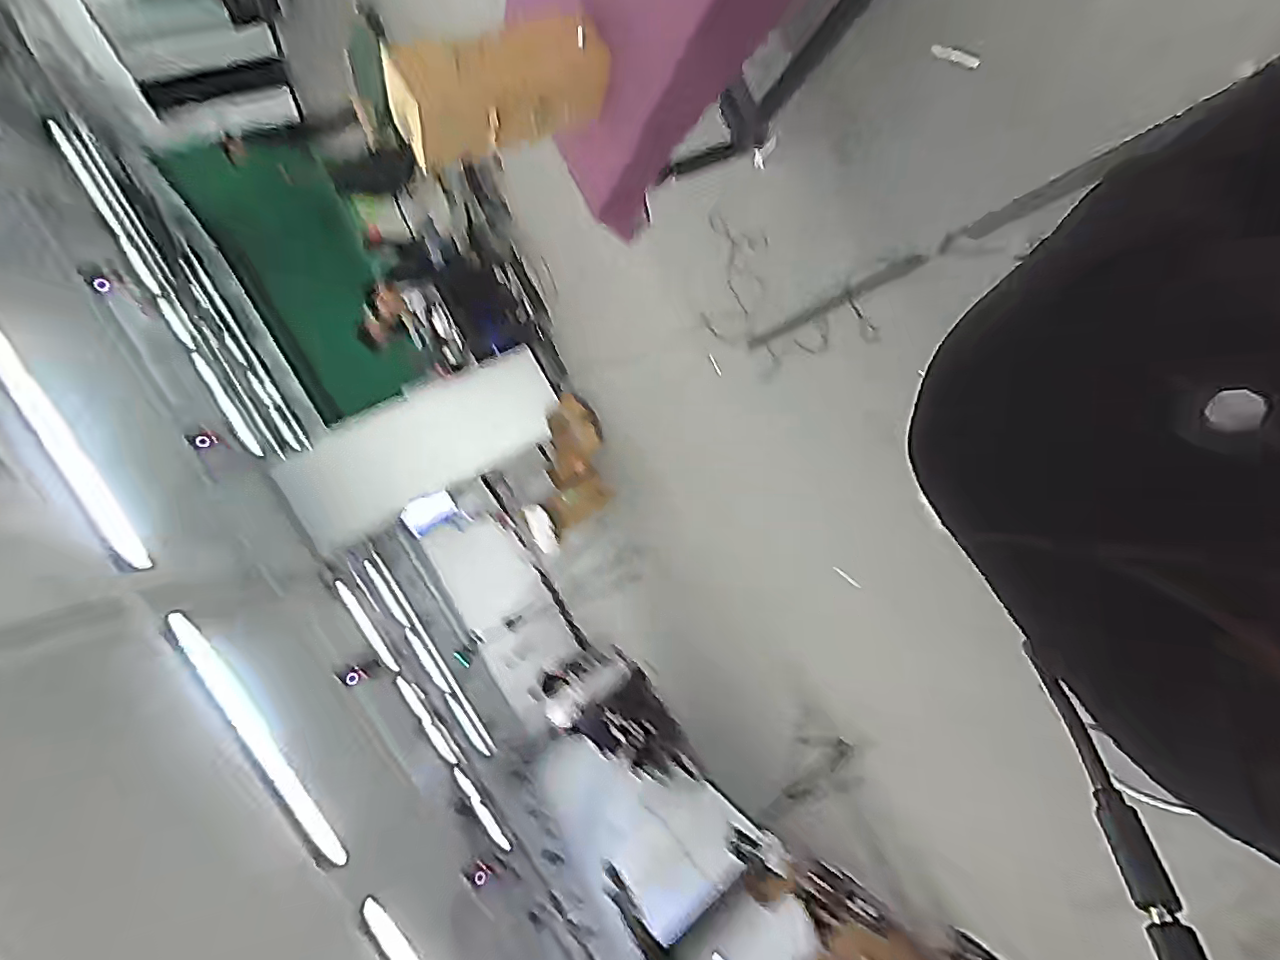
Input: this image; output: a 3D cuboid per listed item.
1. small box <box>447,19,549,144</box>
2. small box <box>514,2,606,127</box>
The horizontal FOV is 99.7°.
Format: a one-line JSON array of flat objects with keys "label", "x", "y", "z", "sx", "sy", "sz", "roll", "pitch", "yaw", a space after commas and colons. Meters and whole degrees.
[{"label": "small box", "x": -0.342, "y": -0.964, "z": 1.305, "sx": 0.179, "sy": 0.176, "sz": 0.168, "roll": 58, "pitch": 160, "yaw": 4}, {"label": "small box", "x": -0.204, "y": -1.039, "z": 1.355, "sx": 0.168, "sy": 0.176, "sz": 0.179, "roll": 58, "pitch": 159, "yaw": 2}]
